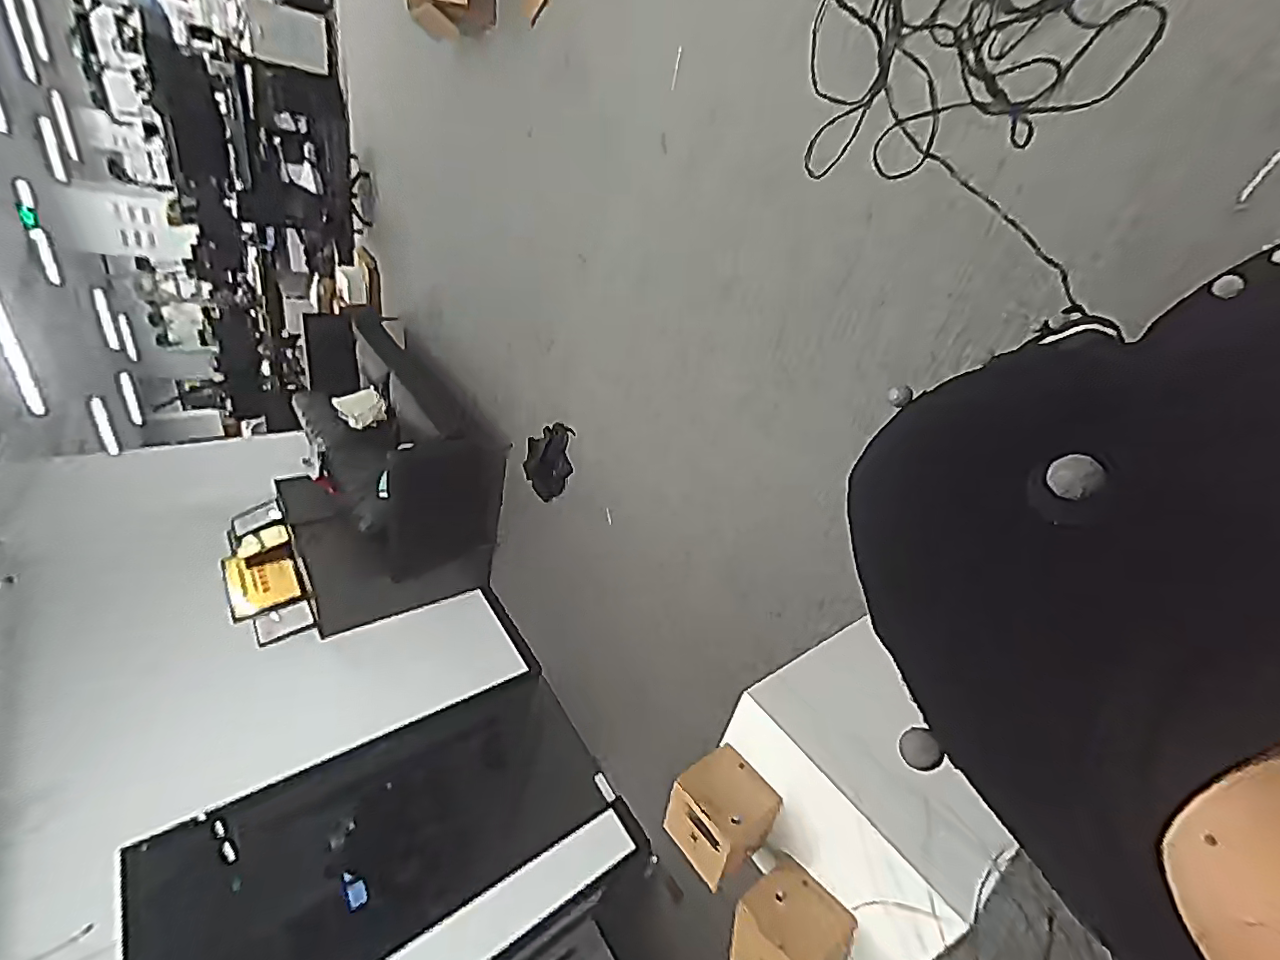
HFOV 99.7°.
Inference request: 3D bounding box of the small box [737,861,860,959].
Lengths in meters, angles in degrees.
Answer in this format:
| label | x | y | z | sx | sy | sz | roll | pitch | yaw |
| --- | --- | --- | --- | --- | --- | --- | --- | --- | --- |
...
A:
| label | x | y | z | sx | sy | sz | roll | pitch | yaw |
| --- | --- | --- | --- | --- | --- | --- | --- | --- | --- |
| small box | 0.317 | 0.925 | 1.082 | 0.168 | 0.176 | 0.179 | 23 | 118 | 48 |
